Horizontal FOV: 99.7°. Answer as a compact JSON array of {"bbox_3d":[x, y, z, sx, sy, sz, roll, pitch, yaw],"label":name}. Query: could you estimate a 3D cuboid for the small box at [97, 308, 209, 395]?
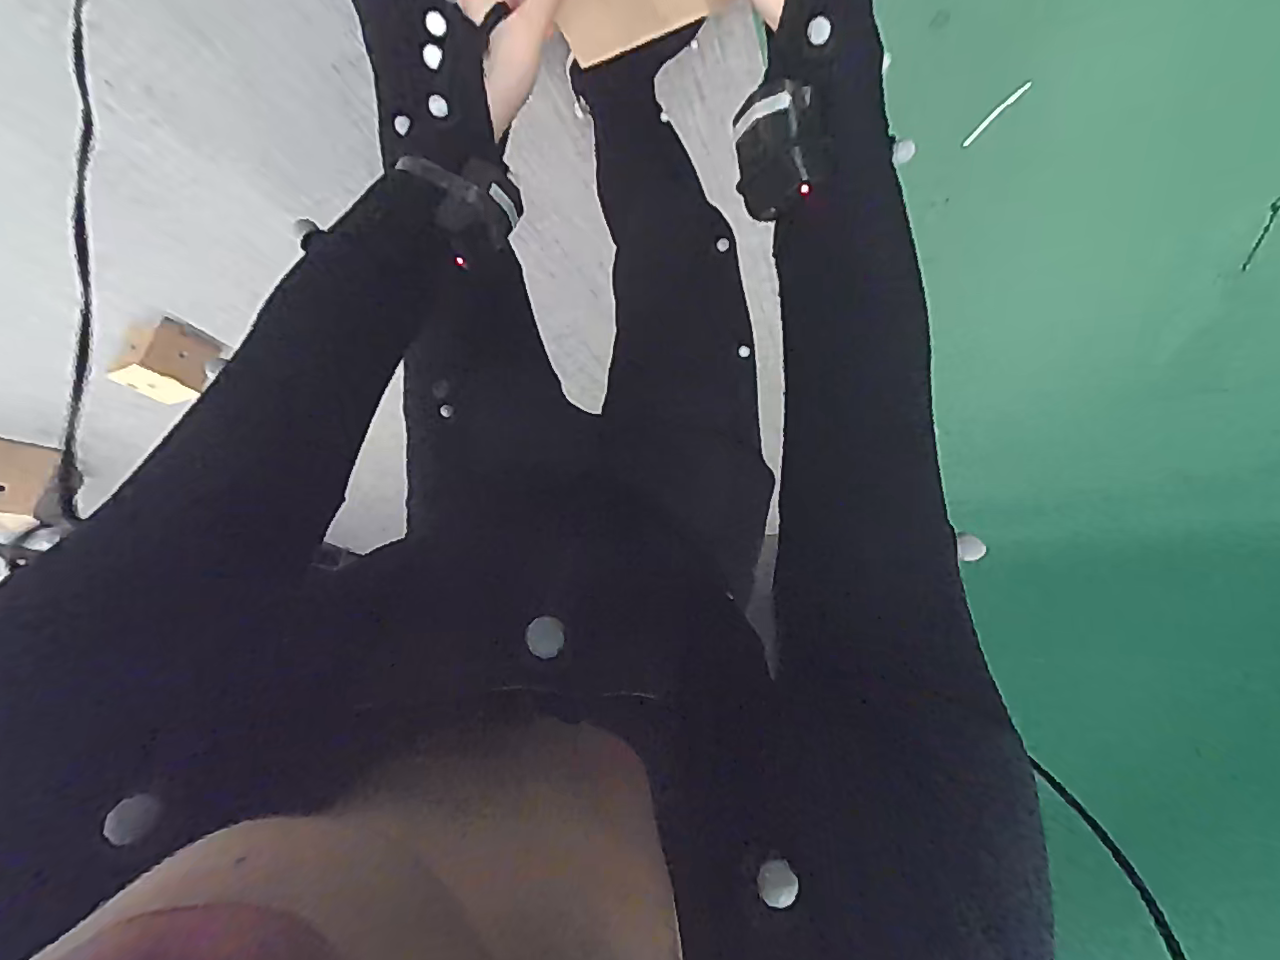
[{"bbox_3d":[-1.399,-0.372,1.567,0.179,0.176,0.168,-7,155,22],"label":"small box"}]
